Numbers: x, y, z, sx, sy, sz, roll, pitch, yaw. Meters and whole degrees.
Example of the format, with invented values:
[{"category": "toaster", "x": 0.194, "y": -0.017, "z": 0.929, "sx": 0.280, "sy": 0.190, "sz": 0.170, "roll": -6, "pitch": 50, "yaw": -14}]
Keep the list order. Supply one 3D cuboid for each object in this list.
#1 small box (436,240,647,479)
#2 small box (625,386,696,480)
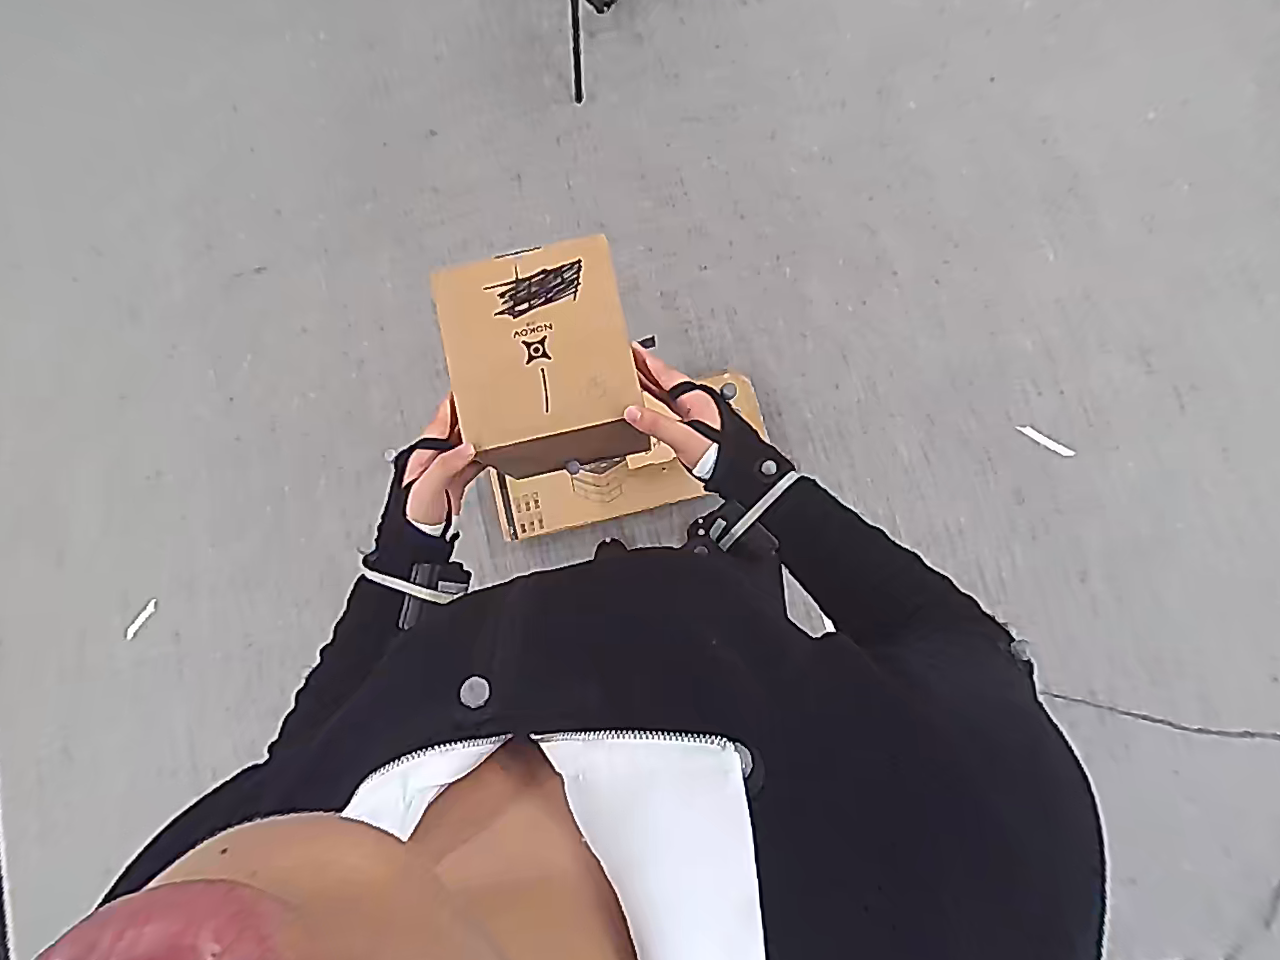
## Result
[{"category": "small box", "x": -0.090, "y": -0.111, "z": 0.564, "sx": 0.168, "sy": 0.176, "sz": 0.179, "roll": -13, "pitch": 82, "yaw": 1}, {"category": "small box", "x": 0.036, "y": -0.111, "z": 1.348, "sx": 0.168, "sy": 0.176, "sz": 0.179, "roll": -15, "pitch": 82, "yaw": 2}]
